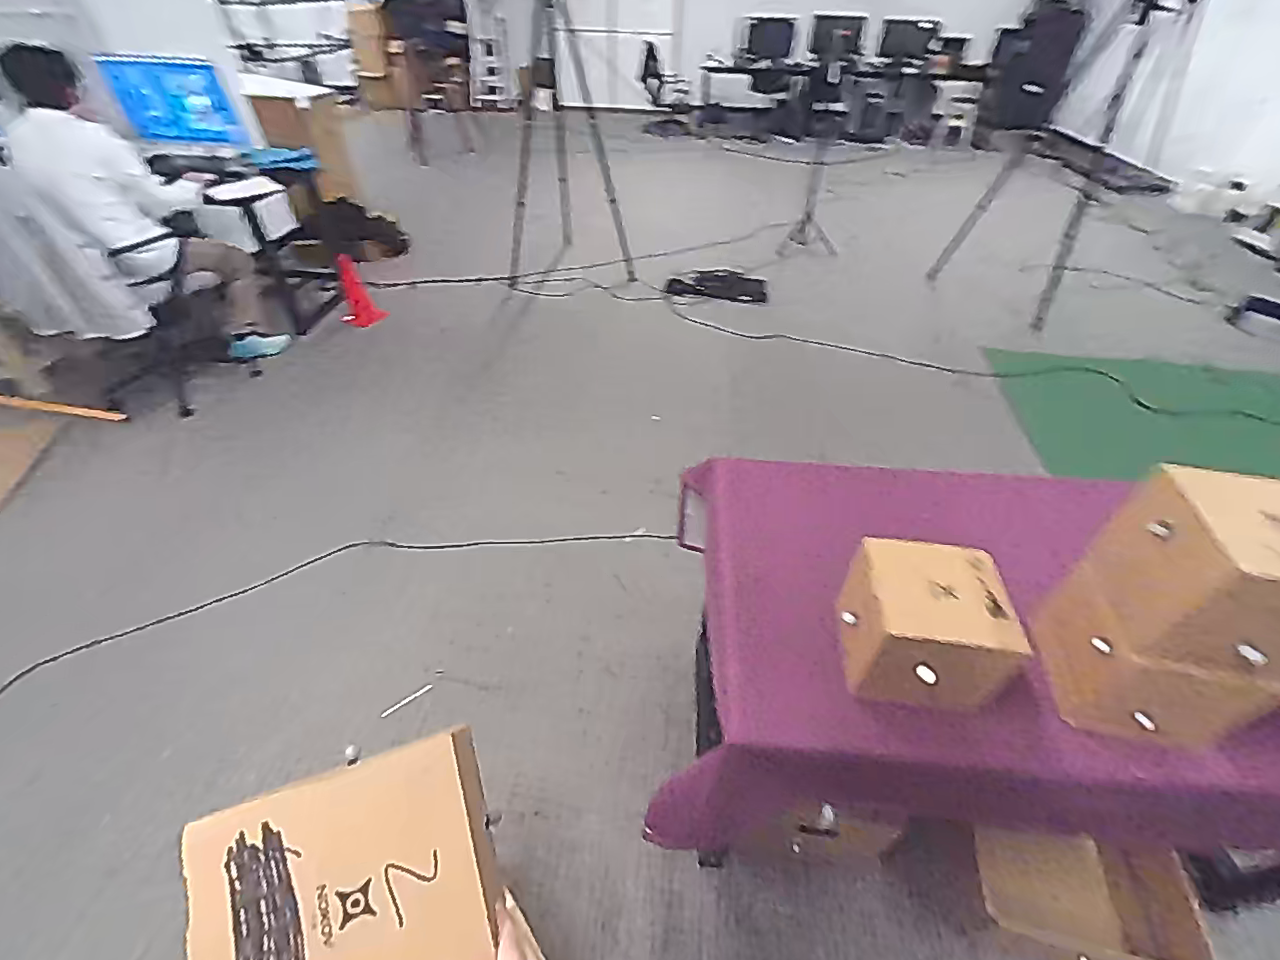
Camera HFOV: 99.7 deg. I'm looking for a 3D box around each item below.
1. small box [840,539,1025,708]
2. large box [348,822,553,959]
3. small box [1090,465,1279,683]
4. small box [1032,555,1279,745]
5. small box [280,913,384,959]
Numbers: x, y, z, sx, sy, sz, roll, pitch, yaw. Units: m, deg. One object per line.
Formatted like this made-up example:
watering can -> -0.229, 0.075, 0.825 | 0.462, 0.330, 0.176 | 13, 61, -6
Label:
small box -> 0.398, 0.208, 0.780 | 0.179, 0.176, 0.168 | 6, 43, 6
large box -> -0.378, 0.932, 0.959 | 0.408, 0.320, 0.320 | -29, 51, -29
small box -> 0.698, 0.111, 0.651 | 0.168, 0.176, 0.179 | 10, 44, 10
small box -> 0.694, 0.236, 0.758 | 0.168, 0.176, 0.179 | 9, 44, 9
small box -> -0.452, 0.775, 0.764 | 0.179, 0.176, 0.168 | -33, 50, -31
